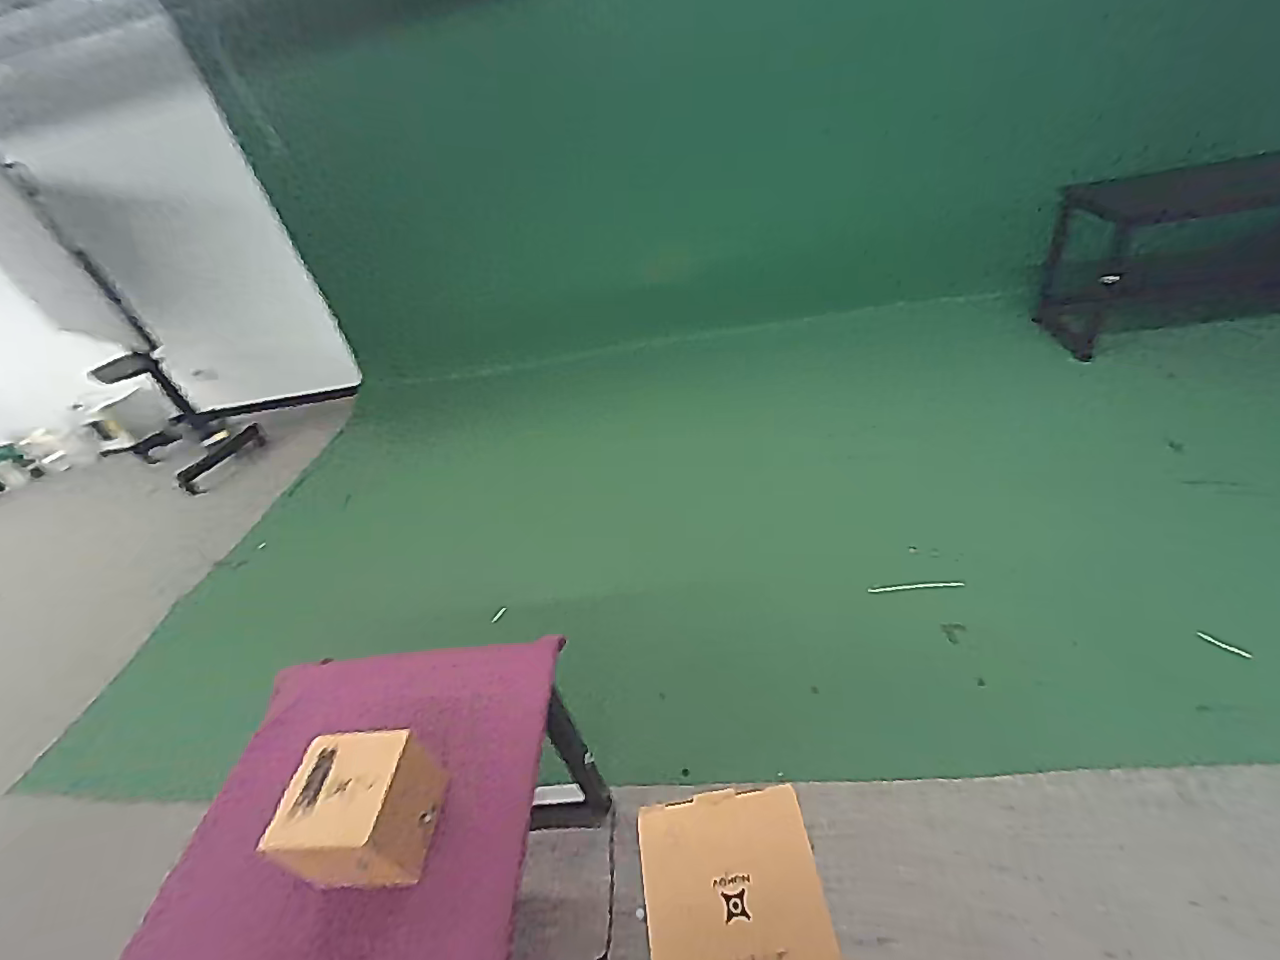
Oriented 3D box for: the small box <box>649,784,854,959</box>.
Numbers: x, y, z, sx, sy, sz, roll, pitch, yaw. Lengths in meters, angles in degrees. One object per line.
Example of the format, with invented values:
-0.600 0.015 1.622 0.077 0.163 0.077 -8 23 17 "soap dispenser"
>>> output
0.102 0.432 0.544 0.168 0.176 0.179 -8 47 1 "small box"
